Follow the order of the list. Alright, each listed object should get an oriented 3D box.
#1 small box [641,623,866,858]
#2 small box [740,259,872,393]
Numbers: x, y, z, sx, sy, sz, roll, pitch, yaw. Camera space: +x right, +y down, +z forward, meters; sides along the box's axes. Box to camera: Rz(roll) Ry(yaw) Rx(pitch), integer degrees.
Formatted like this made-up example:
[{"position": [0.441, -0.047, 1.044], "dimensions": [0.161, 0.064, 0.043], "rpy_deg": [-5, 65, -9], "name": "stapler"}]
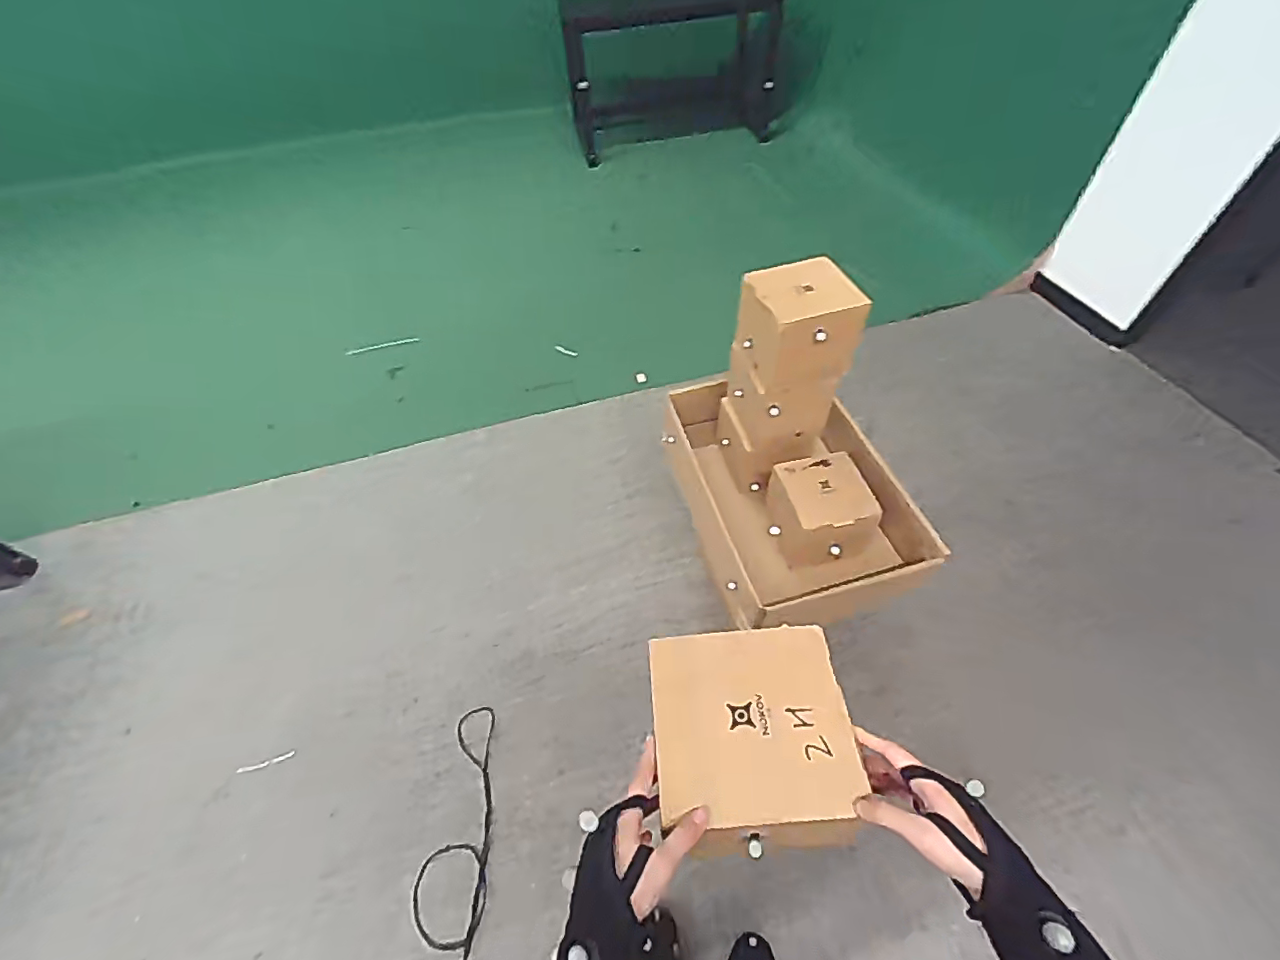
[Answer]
[{"position": [0.097, 0.263, 0.541], "dimensions": [0.179, 0.176, 0.168], "rpy_deg": [-5, 47, 1], "name": "small box"}, {"position": [0.309, -0.295, 1.047], "dimensions": [0.179, 0.176, 0.168], "rpy_deg": [-15, 53, -7], "name": "small box"}]
